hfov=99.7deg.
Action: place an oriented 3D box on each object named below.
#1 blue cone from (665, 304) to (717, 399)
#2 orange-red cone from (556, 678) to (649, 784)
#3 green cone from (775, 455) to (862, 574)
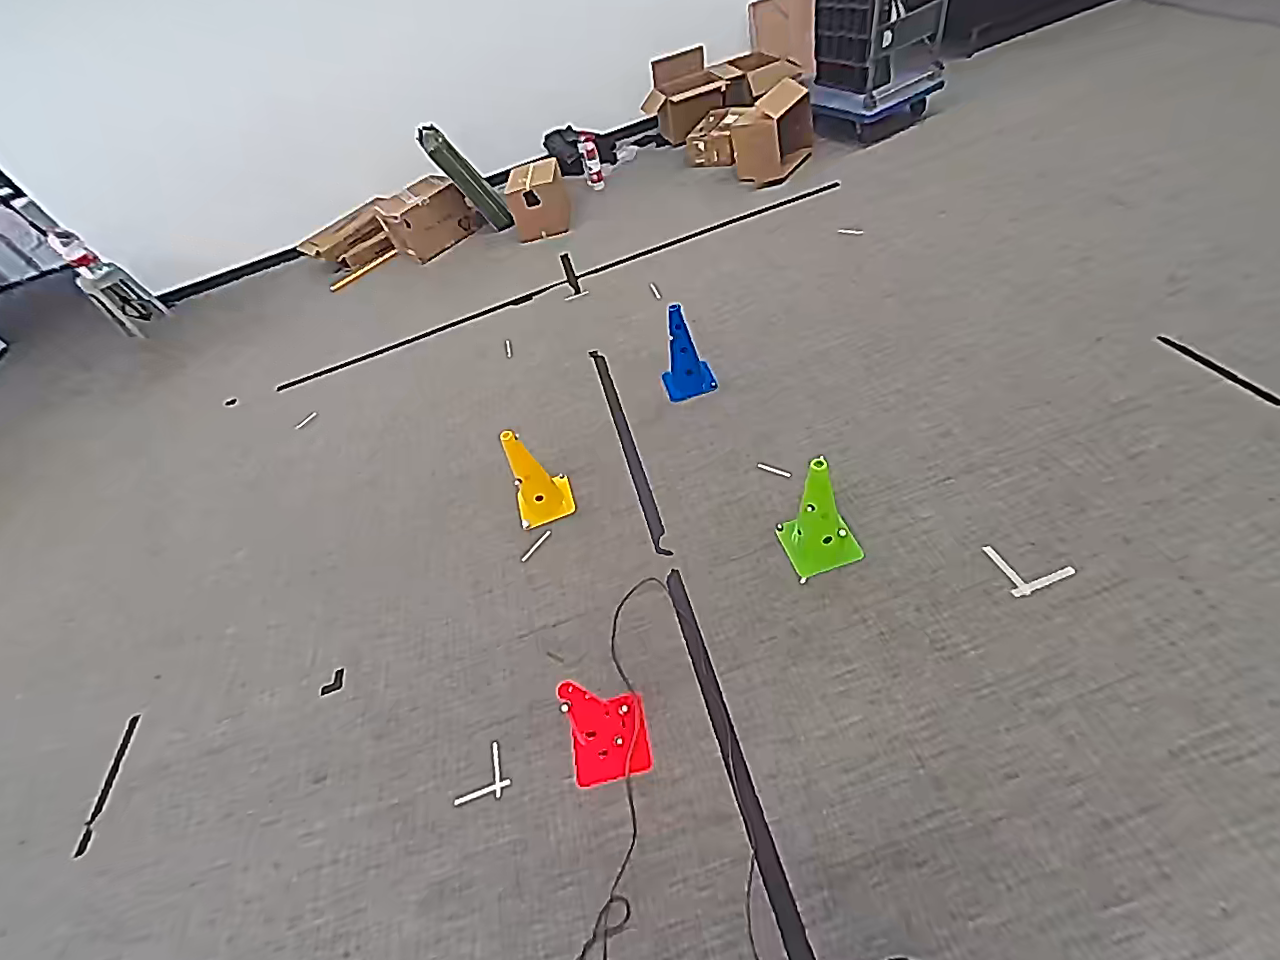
[{"bbox_3d":[0.173,-0.517,2.127,0.192,0.380,0.193,-16,48,2],"label":"blue cone"},{"bbox_3d":[-0.122,0.555,1.277,0.199,0.360,0.198,-17,46,4],"label":"orange-red cone"},{"bbox_3d":[0.494,0.071,1.497,0.202,0.368,0.200,-19,47,0],"label":"green cone"}]
